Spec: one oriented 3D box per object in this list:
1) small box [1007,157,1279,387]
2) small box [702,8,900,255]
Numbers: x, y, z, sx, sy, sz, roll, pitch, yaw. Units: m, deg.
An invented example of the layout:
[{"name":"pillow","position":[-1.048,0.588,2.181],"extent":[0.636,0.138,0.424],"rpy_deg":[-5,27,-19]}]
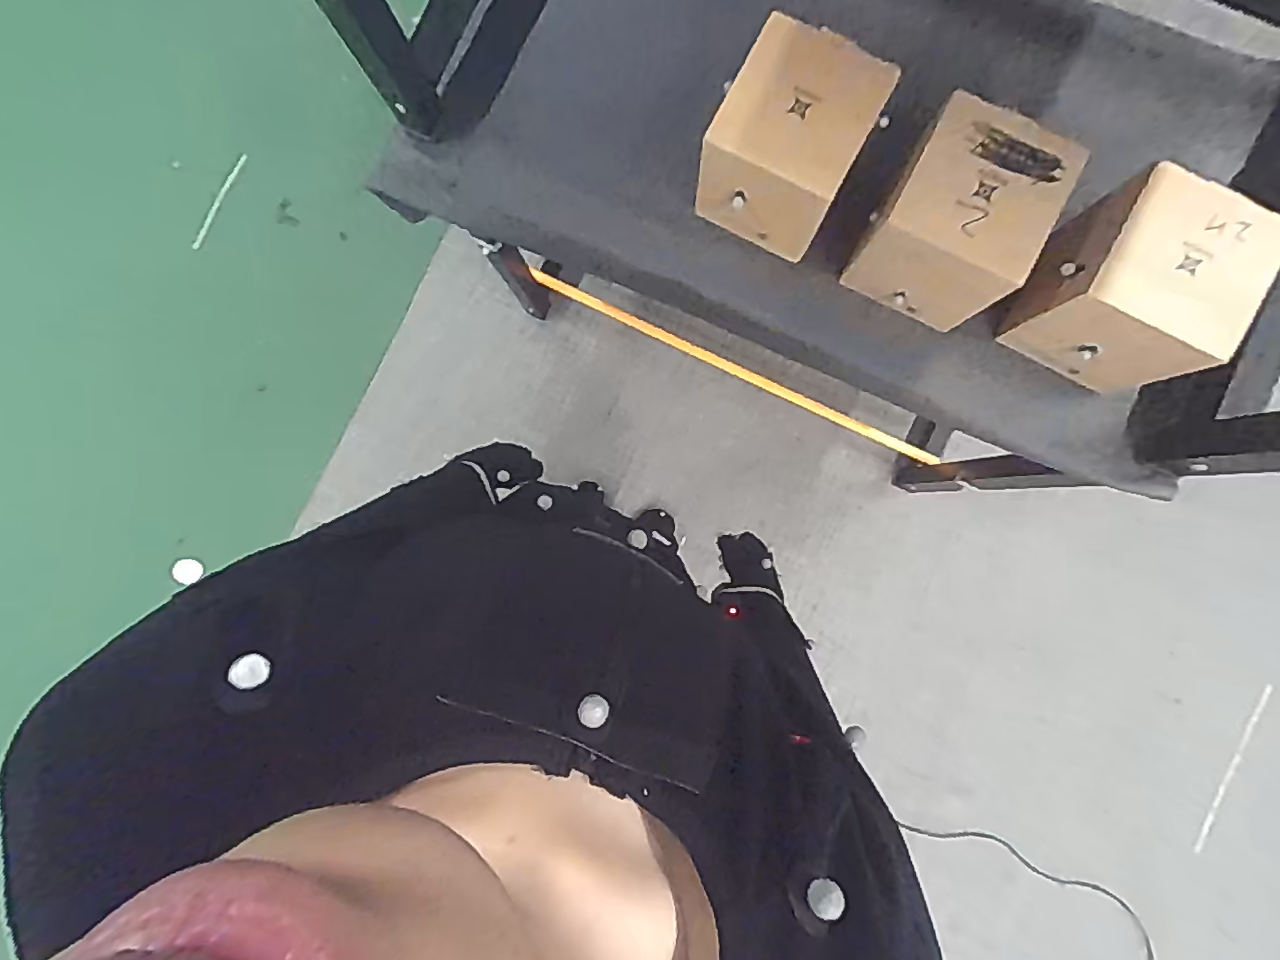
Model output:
[{"name":"small box","position":[0.599,-0.236,0.663],"extent":[0.168,0.176,0.179],"rpy_deg":[29,88,3]},{"name":"small box","position":[0.189,-0.425,0.693],"extent":[0.168,0.176,0.179],"rpy_deg":[28,89,4]}]
